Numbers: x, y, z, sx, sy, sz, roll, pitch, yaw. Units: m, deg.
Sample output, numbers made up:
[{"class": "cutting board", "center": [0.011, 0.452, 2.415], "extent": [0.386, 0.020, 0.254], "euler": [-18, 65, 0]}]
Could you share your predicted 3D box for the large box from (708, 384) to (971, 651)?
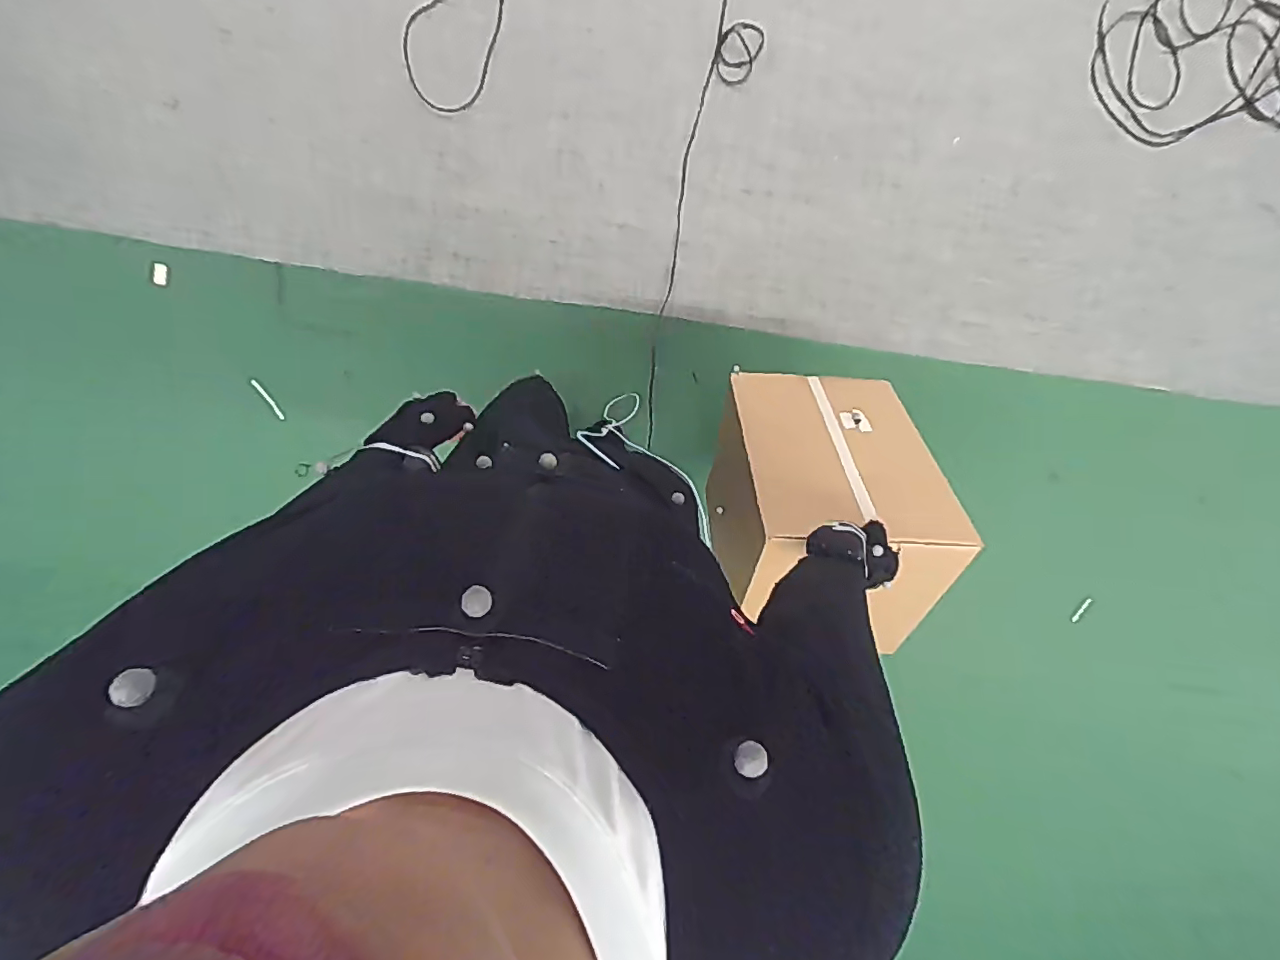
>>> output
[{"class": "large box", "center": [0.316, 0.065, 1.013], "extent": [0.320, 0.408, 0.320], "euler": [3, 133, -3]}]
